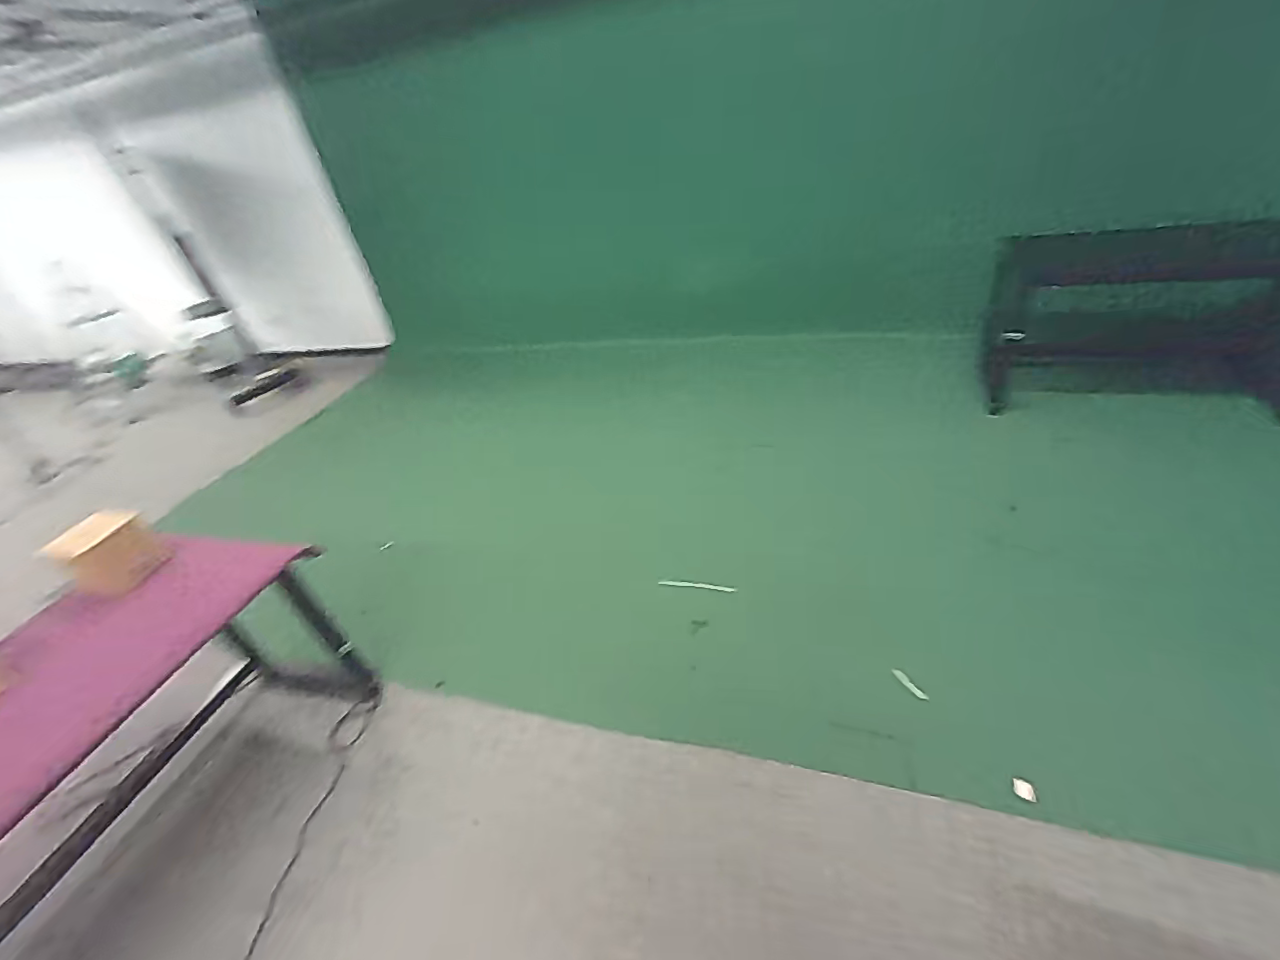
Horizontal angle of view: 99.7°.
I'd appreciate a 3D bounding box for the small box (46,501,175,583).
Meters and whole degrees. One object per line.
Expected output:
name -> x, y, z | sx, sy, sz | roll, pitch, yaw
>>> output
small box -> -1.546, 0.183, 1.589 | 0.179, 0.176, 0.168 | 4, 41, 18
